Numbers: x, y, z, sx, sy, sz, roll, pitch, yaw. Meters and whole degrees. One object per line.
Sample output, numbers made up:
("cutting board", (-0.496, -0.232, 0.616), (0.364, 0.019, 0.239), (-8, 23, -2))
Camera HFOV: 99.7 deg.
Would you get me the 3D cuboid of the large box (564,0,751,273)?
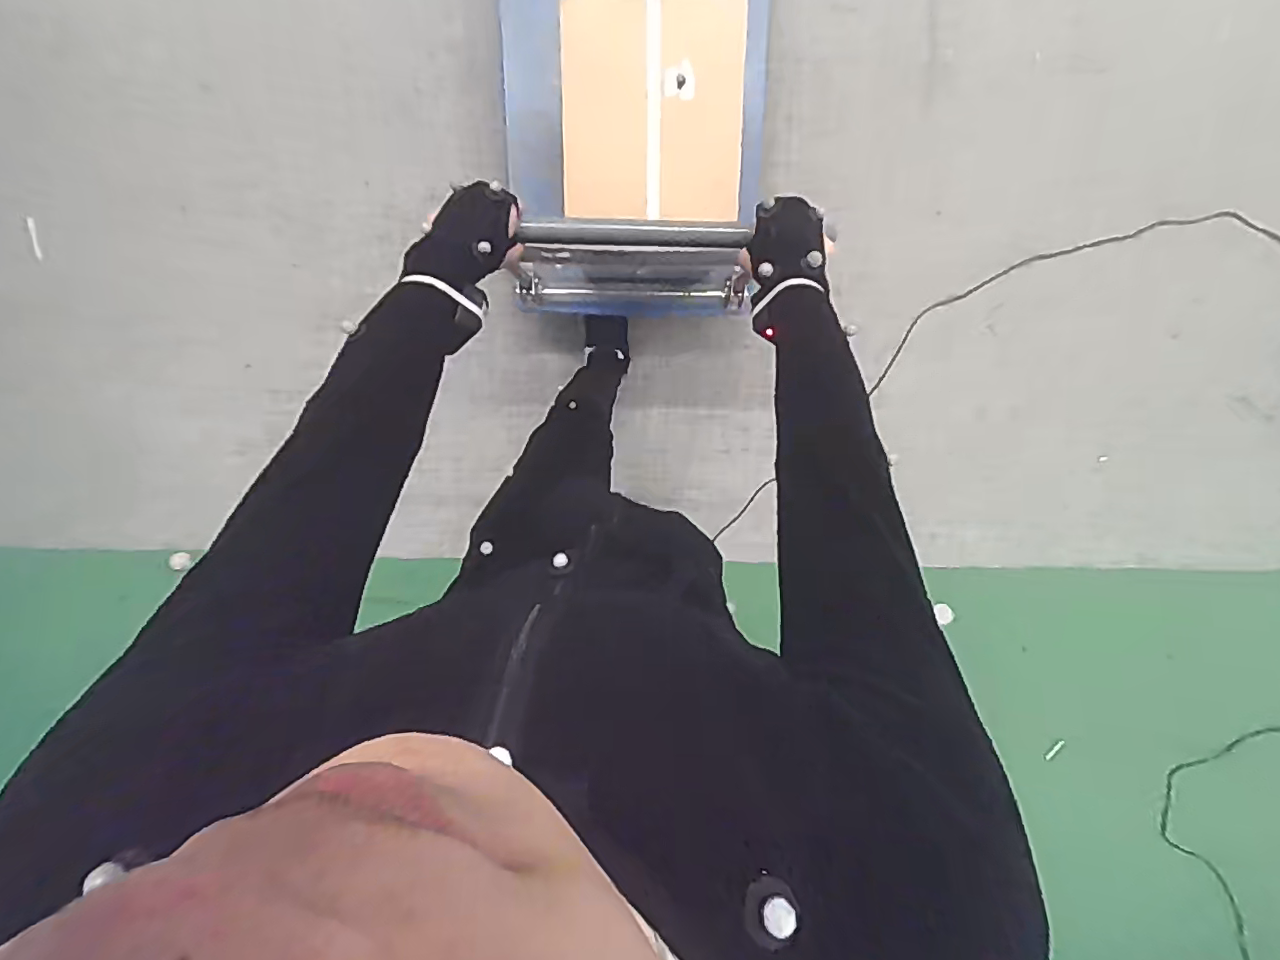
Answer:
("large box", (0.031, -0.643, 1.070), (0.320, 0.320, 0.408), (0, 104, -1))
